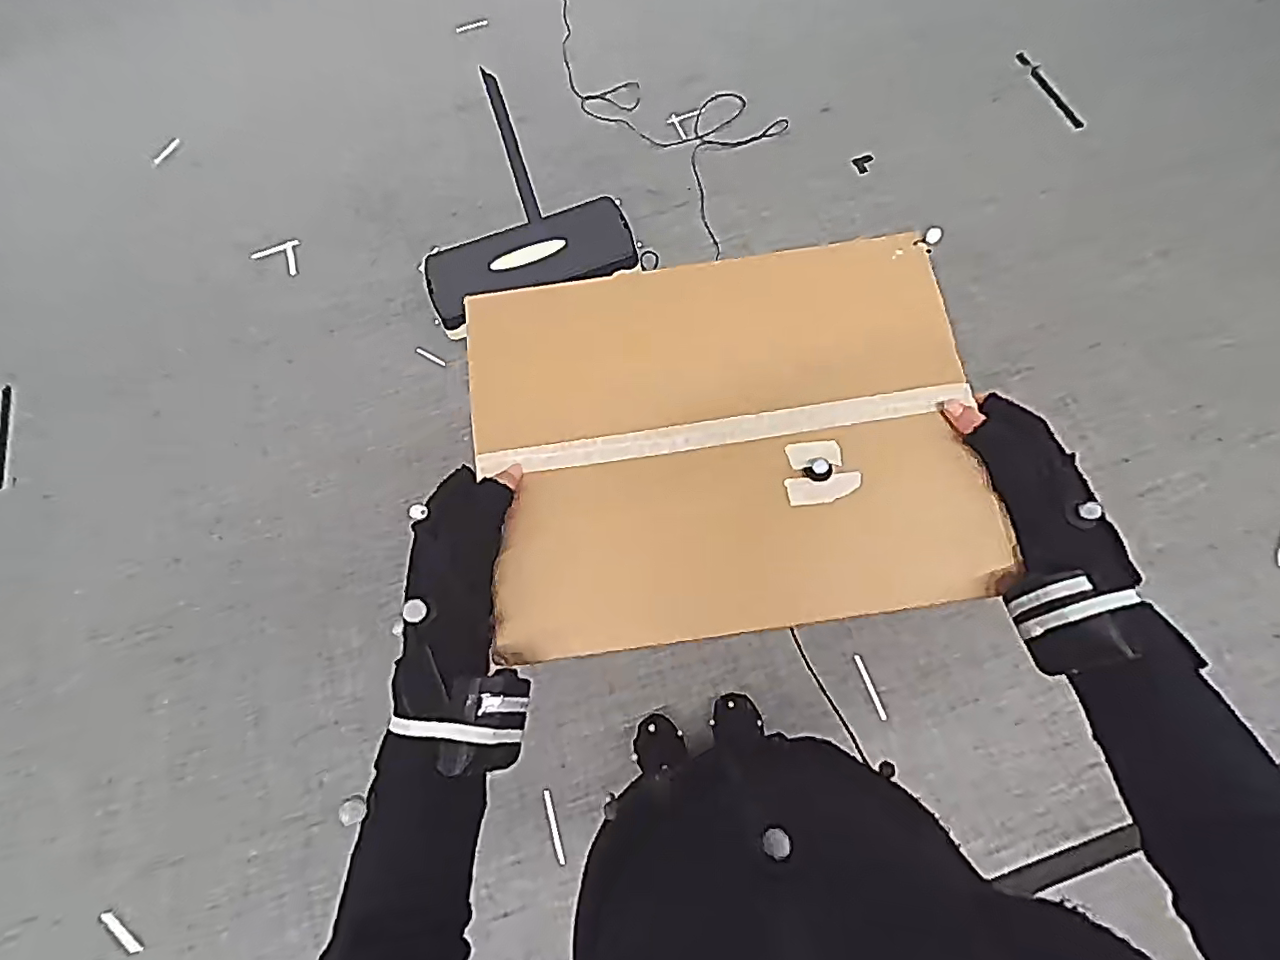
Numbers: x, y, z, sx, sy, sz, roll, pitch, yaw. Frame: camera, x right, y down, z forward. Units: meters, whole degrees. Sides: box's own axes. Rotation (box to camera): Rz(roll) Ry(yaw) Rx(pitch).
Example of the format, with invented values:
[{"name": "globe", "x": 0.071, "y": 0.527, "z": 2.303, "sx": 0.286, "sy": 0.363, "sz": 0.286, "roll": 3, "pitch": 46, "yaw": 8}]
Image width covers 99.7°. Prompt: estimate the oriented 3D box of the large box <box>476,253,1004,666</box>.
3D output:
[{"name": "large box", "x": 0.072, "y": 0.005, "z": 0.602, "sx": 0.408, "sy": 0.320, "sz": 0.320, "roll": -9, "pitch": 76, "yaw": 0}]
